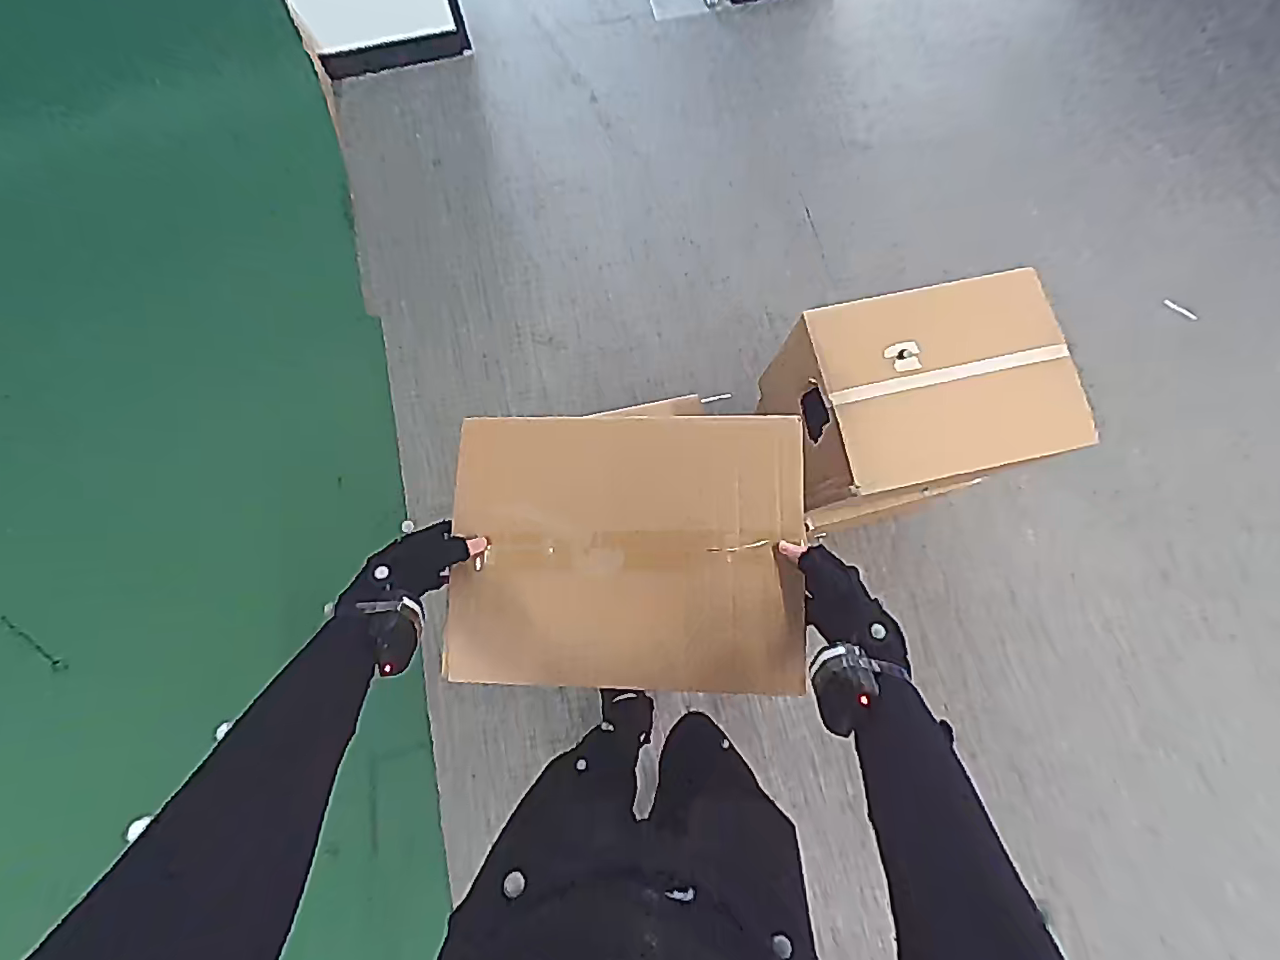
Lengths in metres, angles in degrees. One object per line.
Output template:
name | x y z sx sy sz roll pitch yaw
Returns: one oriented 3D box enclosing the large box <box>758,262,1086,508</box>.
large box | 0.479 -0.150 1.009 0.408 0.320 0.320 -12 80 -2
